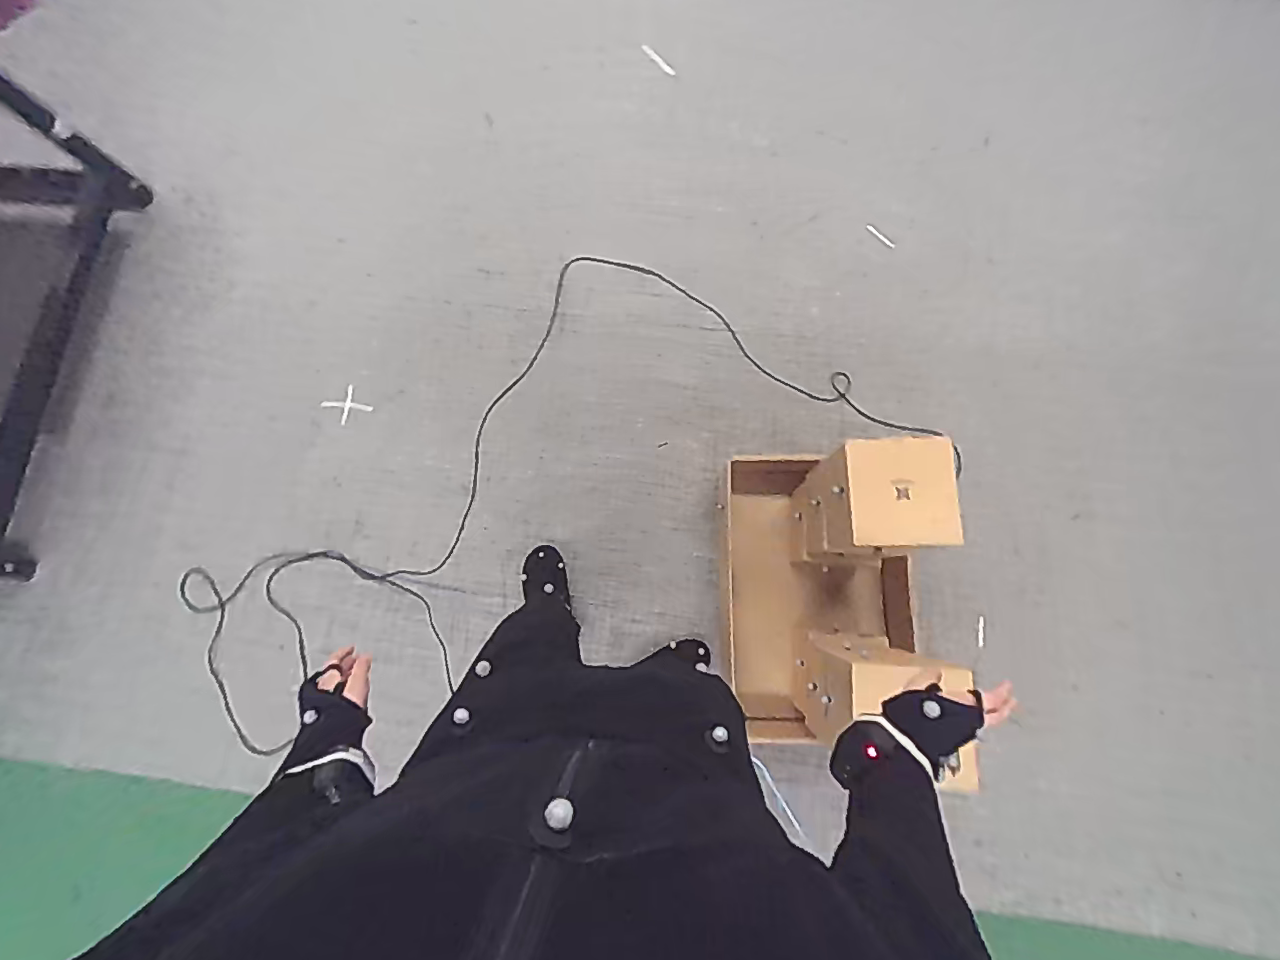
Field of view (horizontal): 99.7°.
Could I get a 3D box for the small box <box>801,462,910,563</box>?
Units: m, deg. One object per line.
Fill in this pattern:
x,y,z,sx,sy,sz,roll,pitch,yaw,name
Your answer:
0.427,0.071,1.091,0.168,0.176,0.179,5,80,5,small box

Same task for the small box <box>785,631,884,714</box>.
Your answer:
0.420,0.431,1.185,0.168,0.176,0.179,5,78,4,small box

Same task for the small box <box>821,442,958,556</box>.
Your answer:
0.417,0.040,0.932,0.168,0.176,0.179,-1,78,5,small box

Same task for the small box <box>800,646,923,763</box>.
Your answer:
0.408,0.413,1.022,0.179,0.176,0.168,5,80,3,small box
